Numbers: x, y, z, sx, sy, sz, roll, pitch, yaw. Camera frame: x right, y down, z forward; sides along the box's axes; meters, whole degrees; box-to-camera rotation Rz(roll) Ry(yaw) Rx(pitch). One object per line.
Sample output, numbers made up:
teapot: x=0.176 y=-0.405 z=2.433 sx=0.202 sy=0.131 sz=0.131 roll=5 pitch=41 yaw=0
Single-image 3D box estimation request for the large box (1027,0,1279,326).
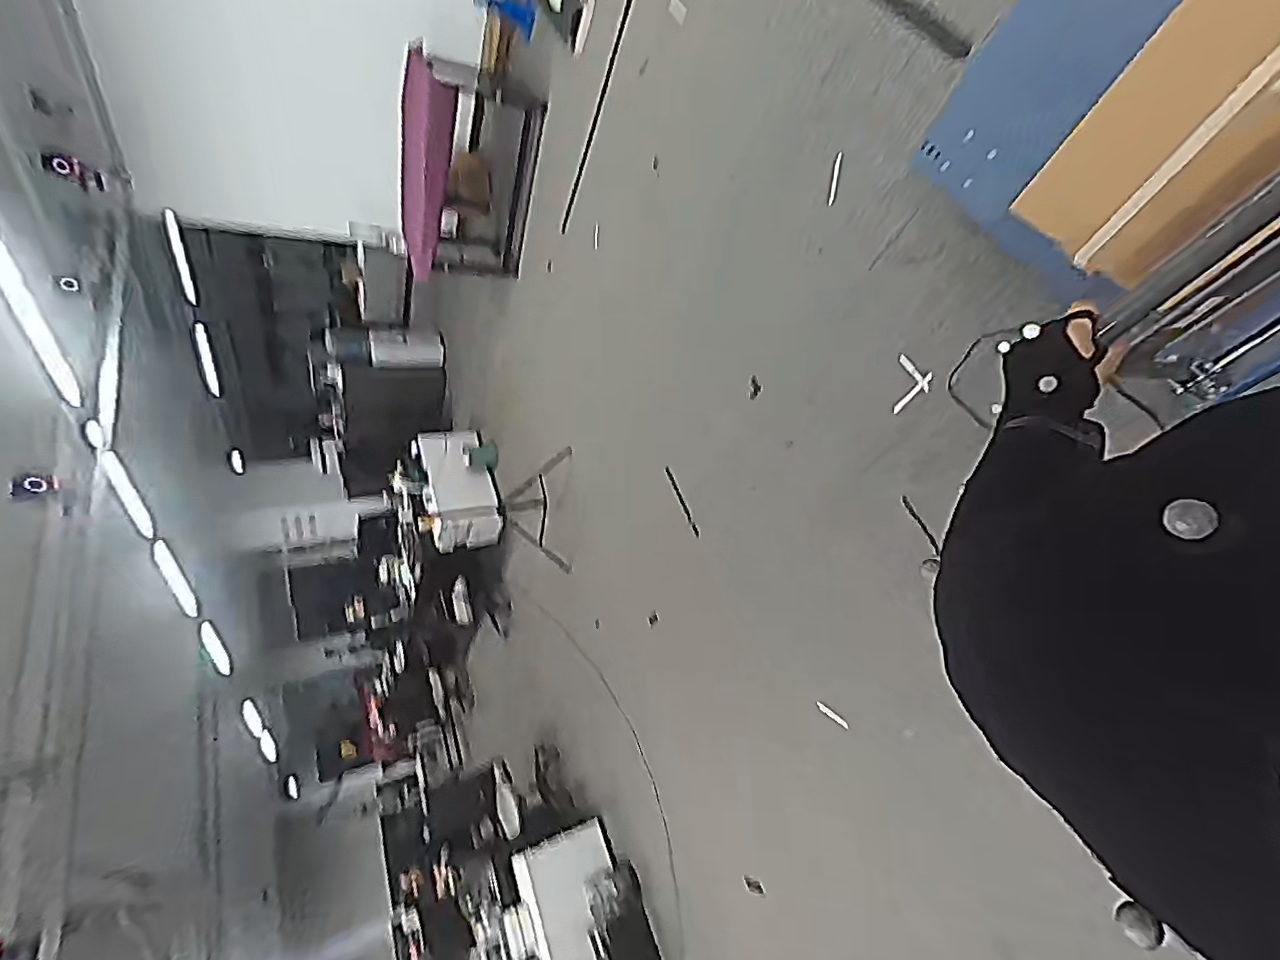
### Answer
large box: x=0.907 y=-0.488 z=0.787 sx=0.320 sy=0.320 sz=0.408 roll=62 pitch=142 yaw=30
